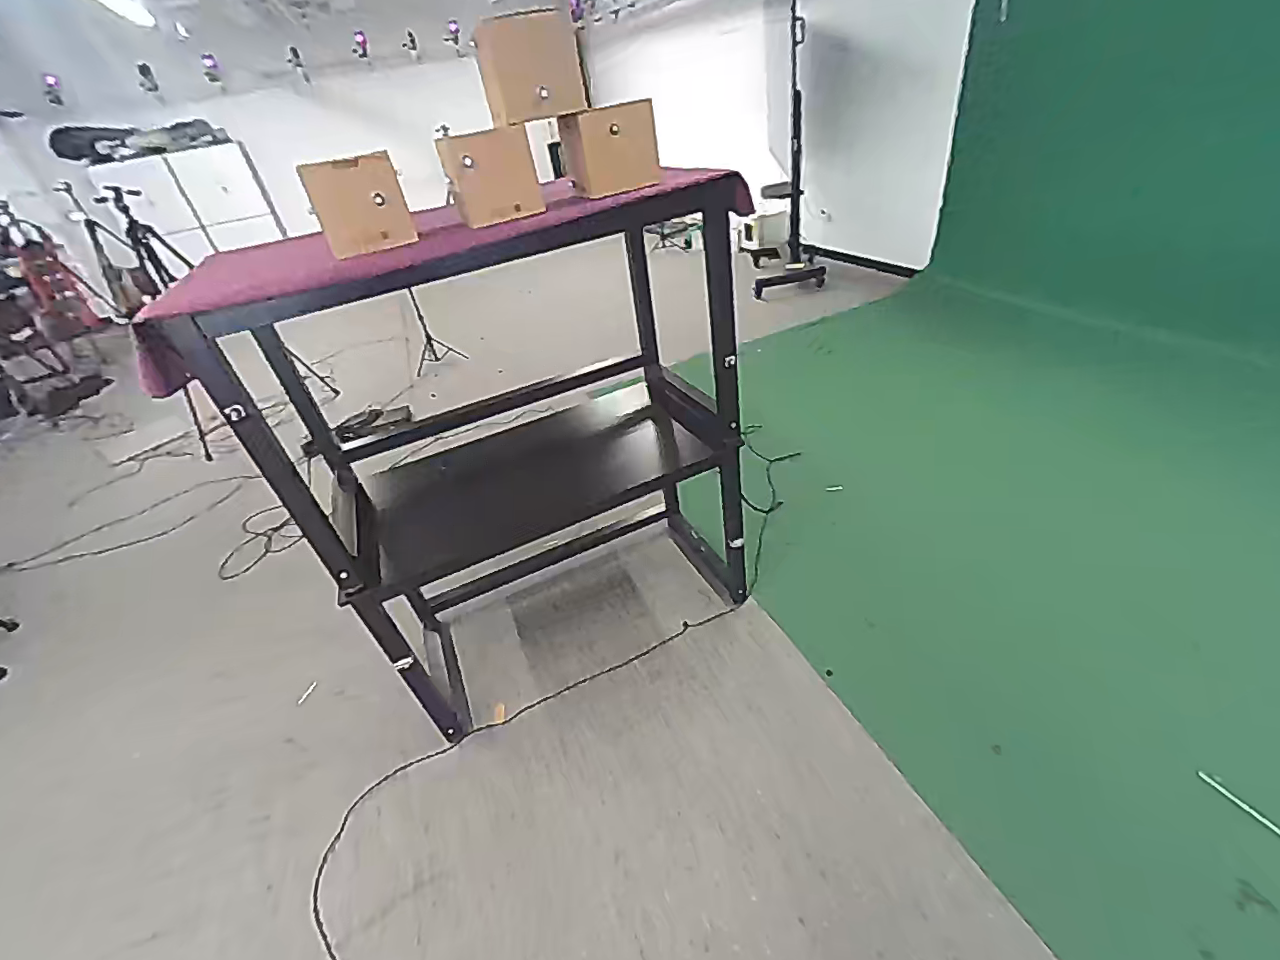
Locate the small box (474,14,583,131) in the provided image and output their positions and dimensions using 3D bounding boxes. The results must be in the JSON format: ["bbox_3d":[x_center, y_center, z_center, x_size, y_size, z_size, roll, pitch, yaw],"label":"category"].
[{"bbox_3d":[-0.226,-0.840,1.125,0.179,0.176,0.168,-19,35,-14],"label":"small box"}]

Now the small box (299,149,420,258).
[{"bbox_3d":[-0.566,-0.567,1.111,0.168,0.176,0.179,-19,35,-14],"label":"small box"}]

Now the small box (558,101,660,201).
[{"bbox_3d":[-0.069,-0.760,1.257,0.179,0.176,0.168,-21,36,-15],"label":"small box"}]
